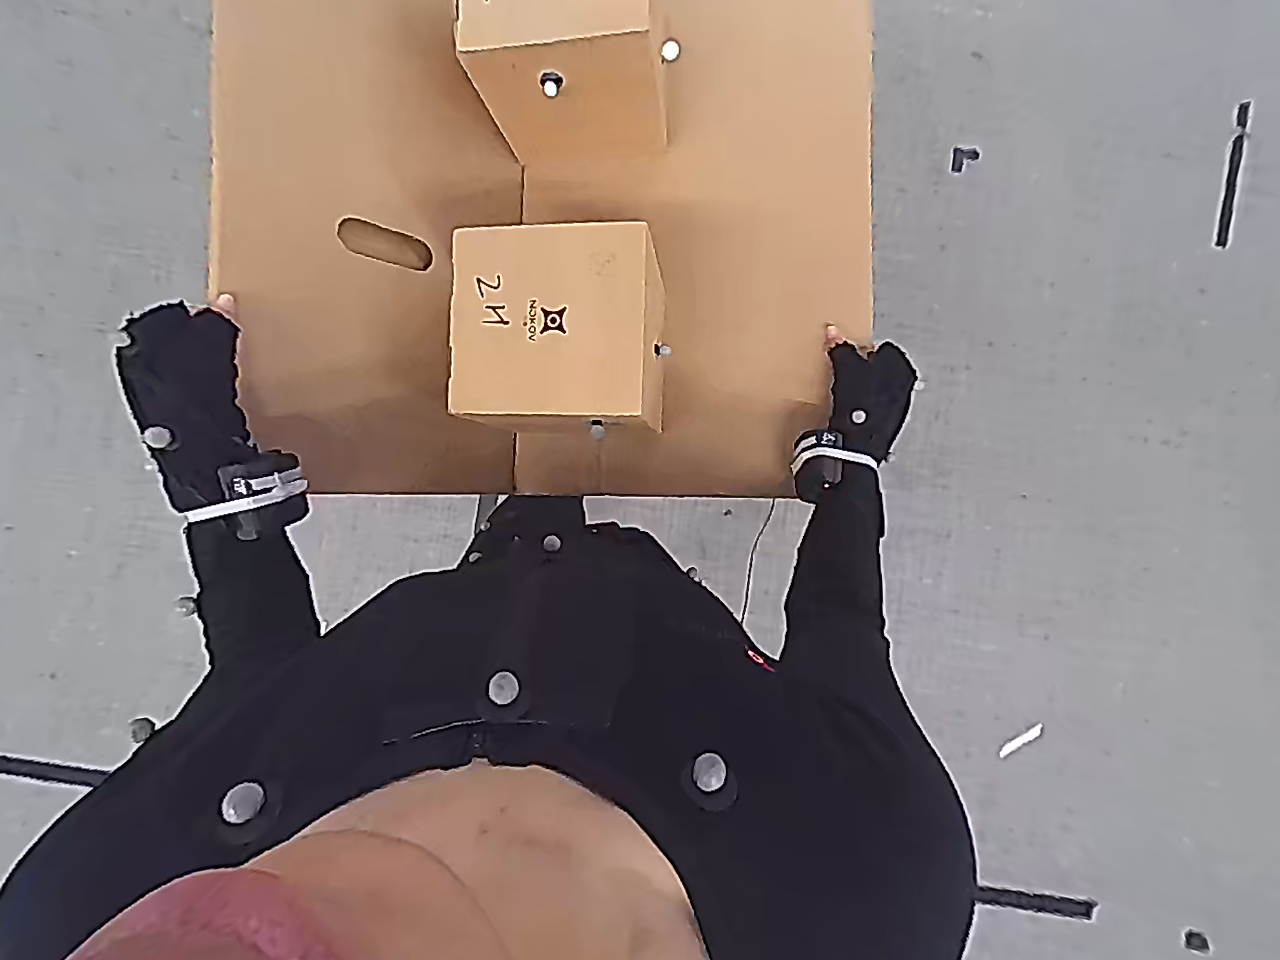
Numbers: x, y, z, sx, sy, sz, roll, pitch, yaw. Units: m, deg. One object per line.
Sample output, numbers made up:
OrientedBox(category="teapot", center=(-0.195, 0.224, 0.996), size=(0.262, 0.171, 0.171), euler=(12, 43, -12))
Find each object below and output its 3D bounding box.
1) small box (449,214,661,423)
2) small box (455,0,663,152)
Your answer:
OrientedBox(category="small box", center=(-0.073, -0.151, 0.556), size=(0.179, 0.176, 0.168), euler=(2, 89, 9))
OrientedBox(category="small box", center=(-0.072, -0.471, 0.562), size=(0.179, 0.176, 0.168), euler=(-1, 89, 8))
